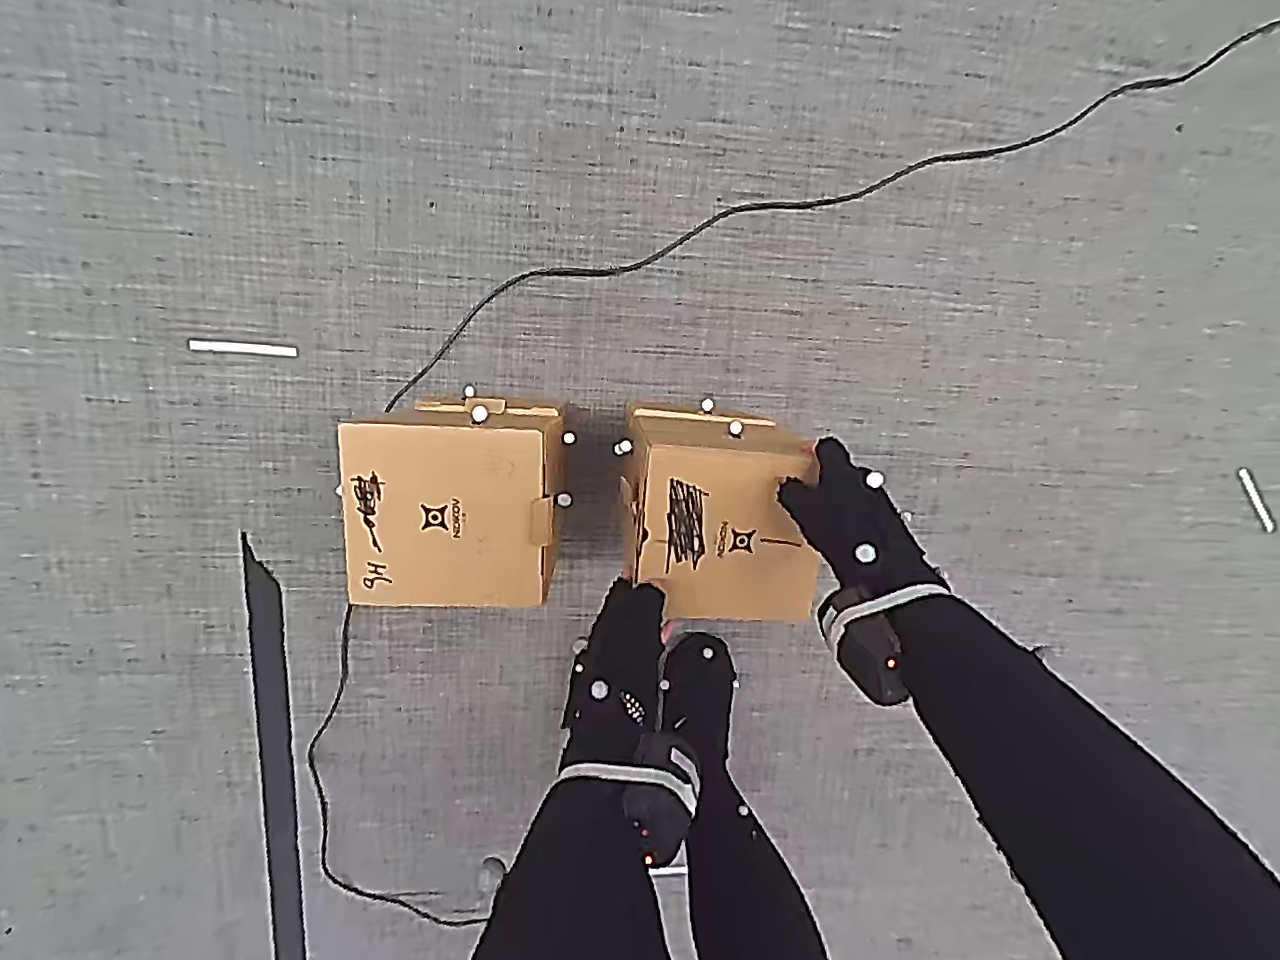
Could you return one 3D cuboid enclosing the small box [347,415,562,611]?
[{"bbox_3d":[-0.172,0.022,0.556,0.179,0.176,0.168,2,100,-5],"label":"small box"}]

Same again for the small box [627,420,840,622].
[{"bbox_3d":[0.081,0.033,0.574,0.179,0.176,0.168,4,105,-7],"label":"small box"}]

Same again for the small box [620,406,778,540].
[{"bbox_3d":[0.067,-0.010,0.738,0.179,0.176,0.168,4,101,-6],"label":"small box"}]

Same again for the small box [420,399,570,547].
[{"bbox_3d":[-0.183,-0.014,0.716,0.168,0.176,0.179,3,102,-4],"label":"small box"}]
